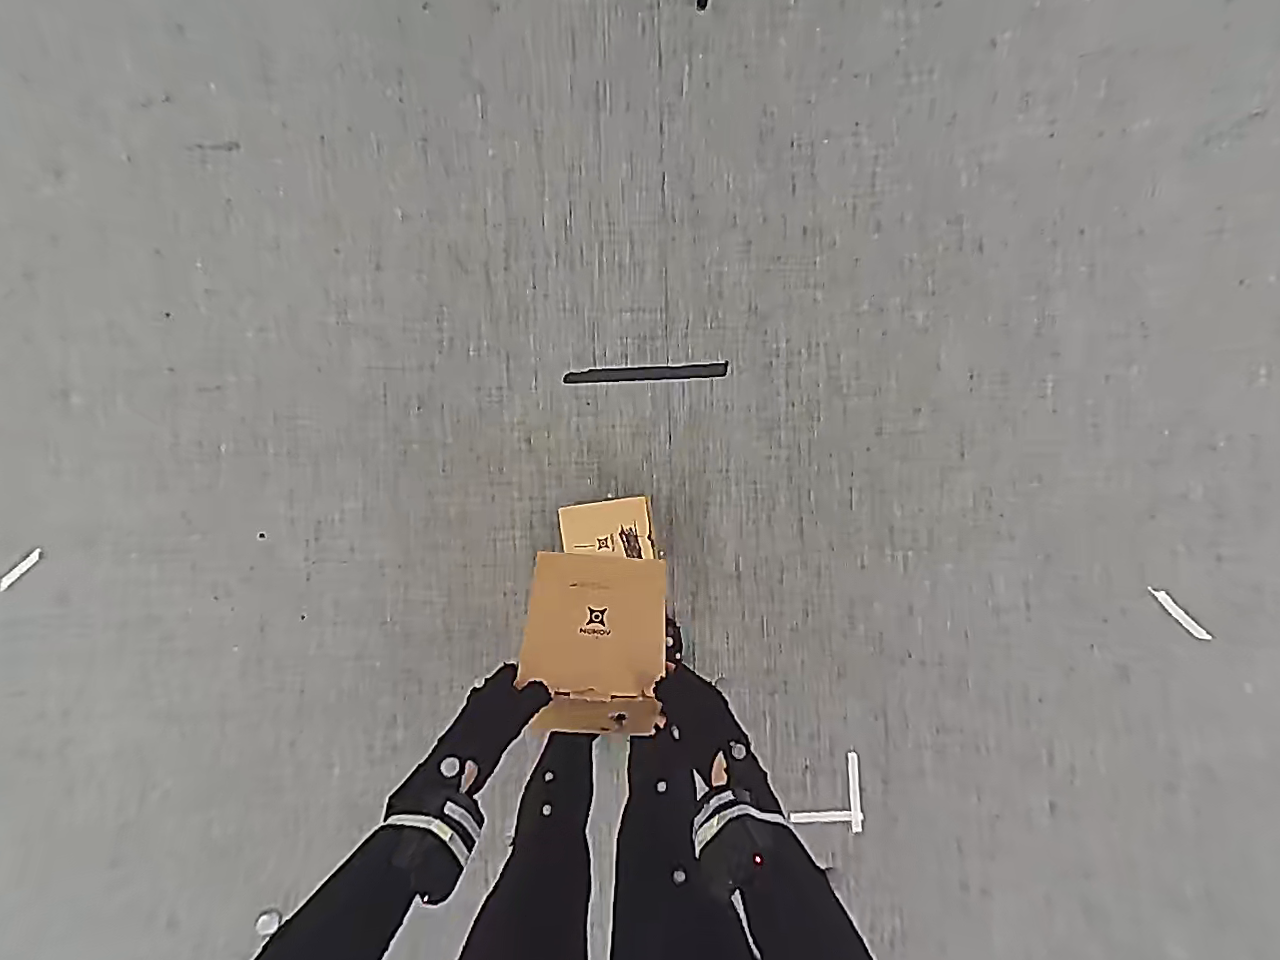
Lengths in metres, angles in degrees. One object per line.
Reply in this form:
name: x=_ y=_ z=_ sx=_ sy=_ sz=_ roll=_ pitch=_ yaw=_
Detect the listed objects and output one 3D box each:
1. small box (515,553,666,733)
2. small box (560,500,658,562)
small box: x=-0.059 y=0.216 z=0.699 sx=0.168 sy=0.176 sz=0.179 roll=6 pitch=52 yaw=-5
small box: x=-0.056 y=0.133 z=1.119 sx=0.179 sy=0.176 sz=0.168 roll=-8 pitch=89 yaw=4
